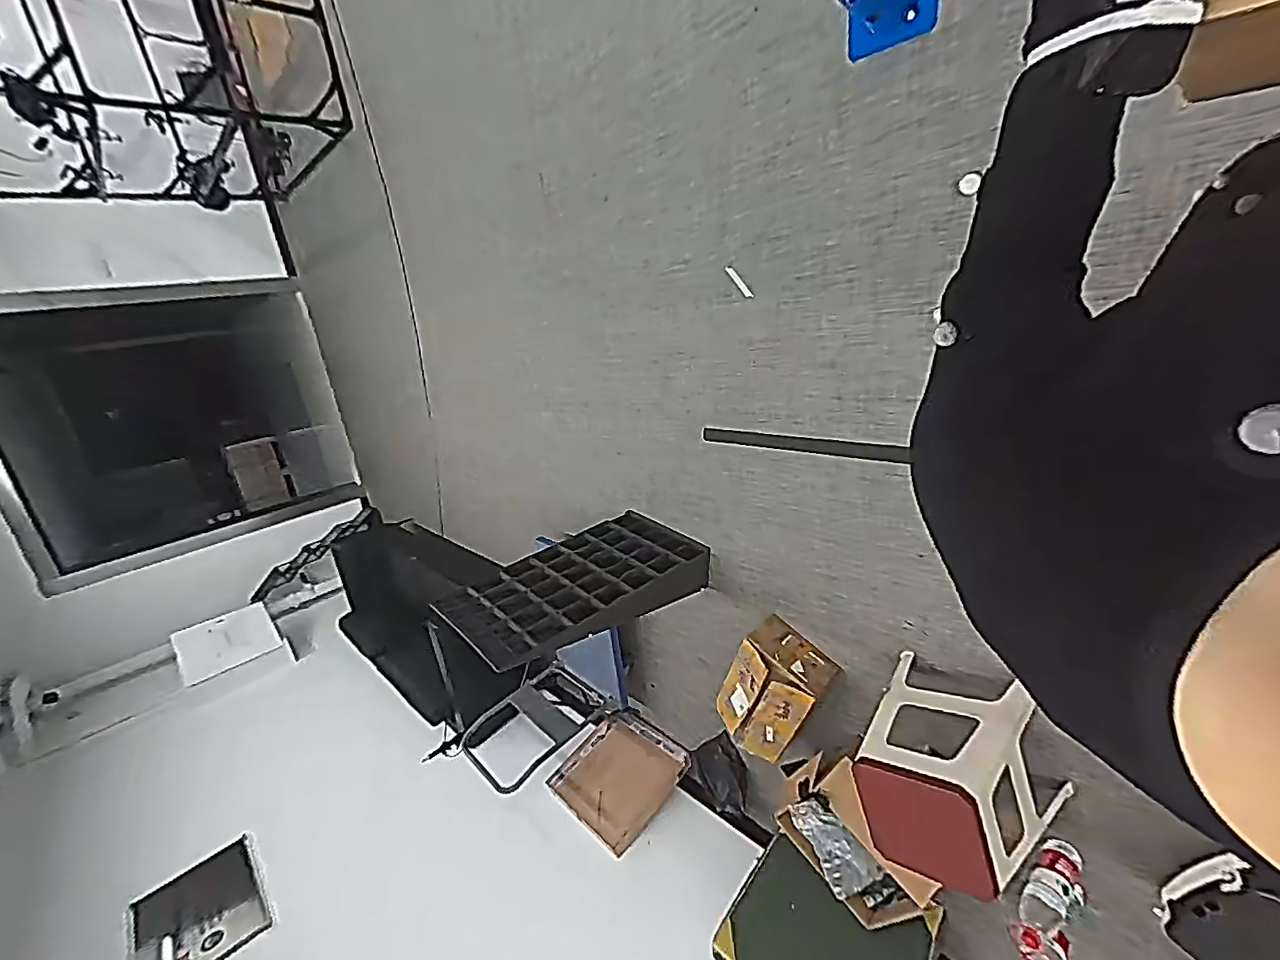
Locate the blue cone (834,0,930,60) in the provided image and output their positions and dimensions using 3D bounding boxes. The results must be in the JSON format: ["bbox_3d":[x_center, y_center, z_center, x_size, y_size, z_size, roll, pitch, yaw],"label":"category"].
[{"bbox_3d":[0.439,-1.037,1.118,0.192,0.380,0.193,17,120,45],"label":"blue cone"}]

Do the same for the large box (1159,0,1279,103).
[{"bbox_3d":[0.555,-0.436,0.253,0.408,0.320,0.320,15,118,44],"label":"large box"}]
